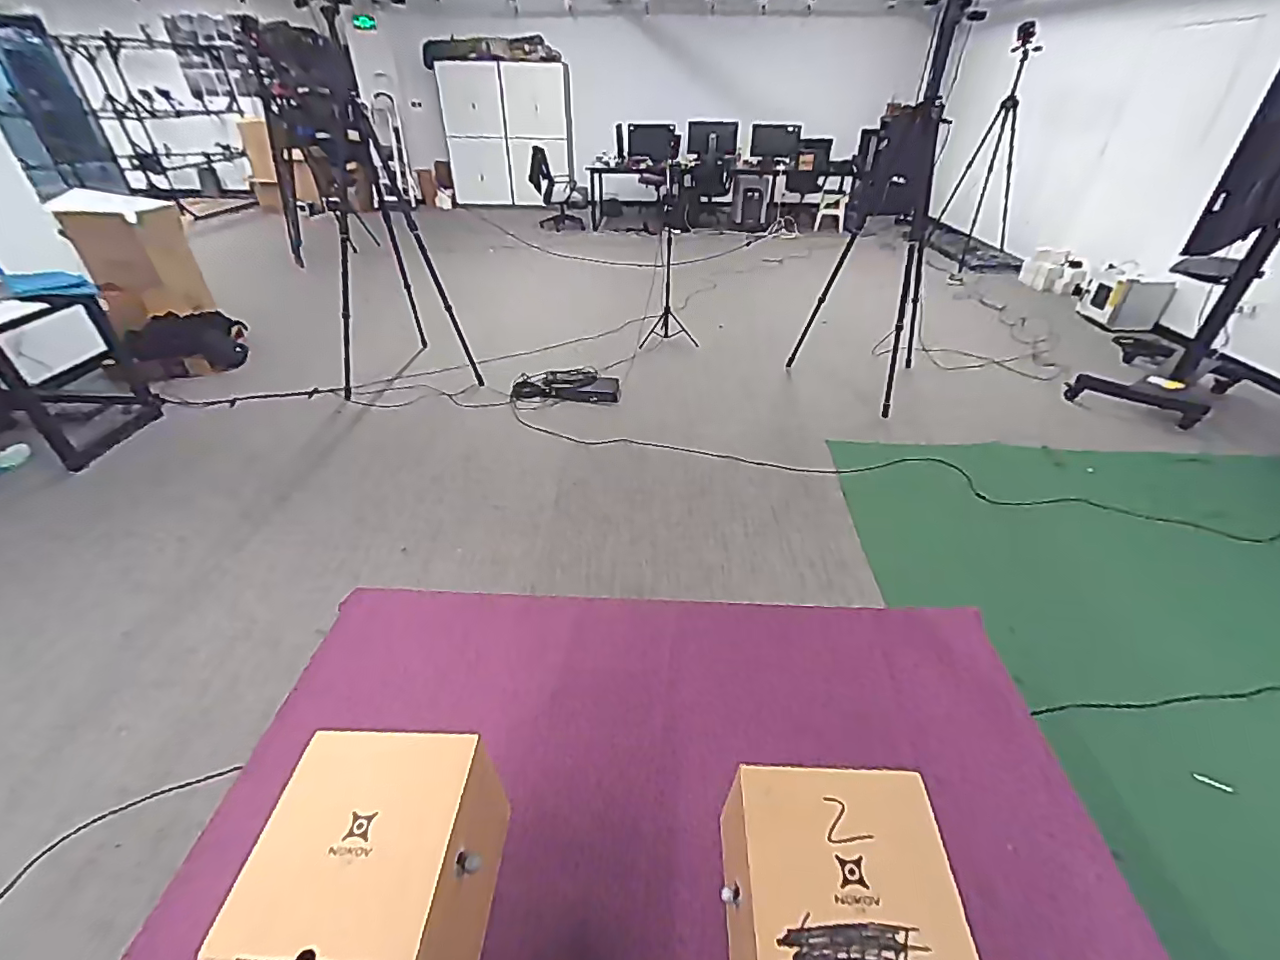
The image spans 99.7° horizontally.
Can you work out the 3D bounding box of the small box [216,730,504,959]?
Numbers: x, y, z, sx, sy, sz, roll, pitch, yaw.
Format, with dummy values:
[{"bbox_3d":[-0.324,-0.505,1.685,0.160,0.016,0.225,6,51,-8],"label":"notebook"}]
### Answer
[{"bbox_3d":[-0.240,0.371,0.523,0.168,0.176,0.179,0,38,3],"label":"small box"}]
